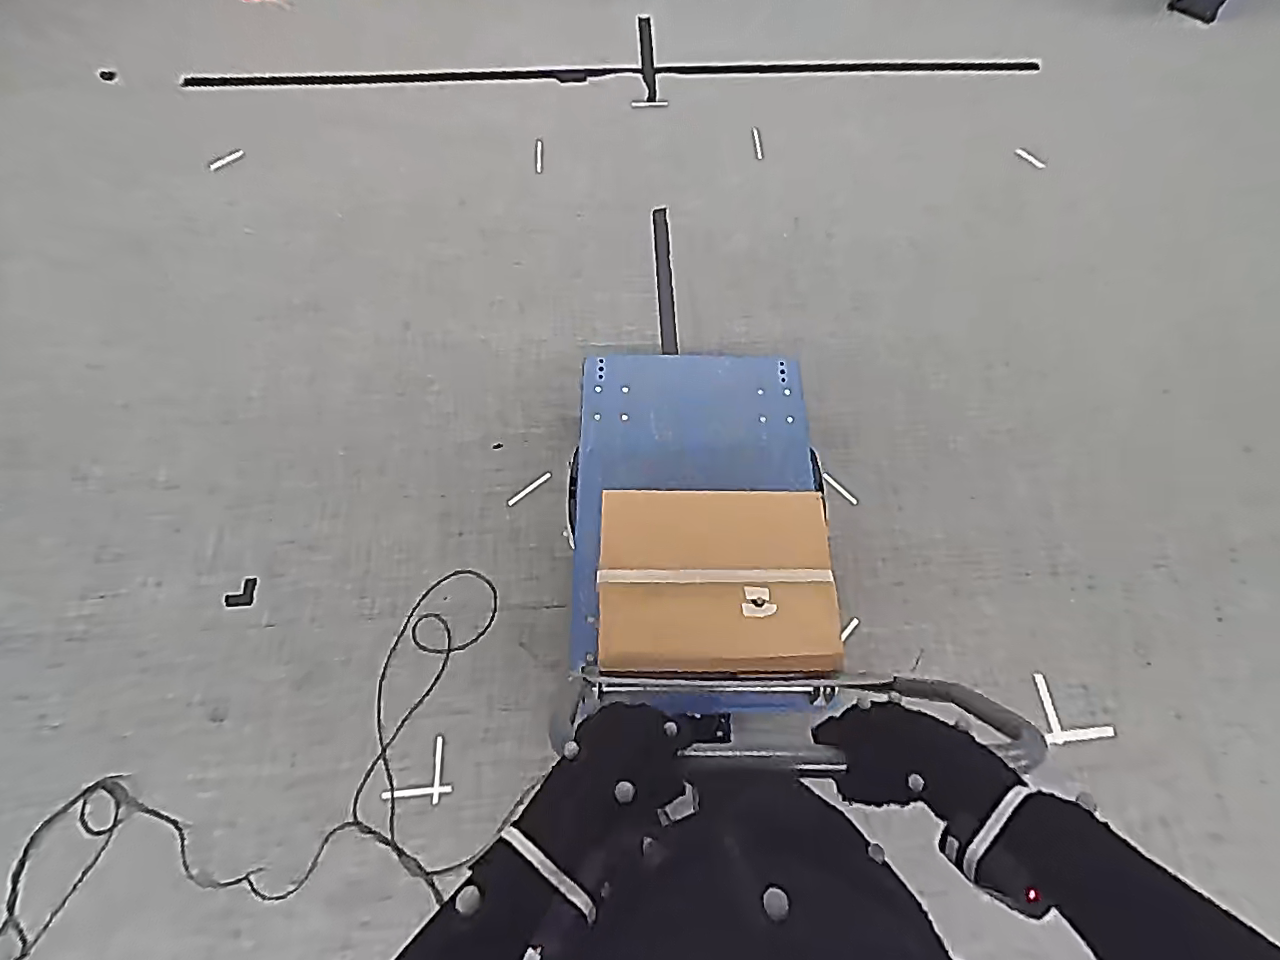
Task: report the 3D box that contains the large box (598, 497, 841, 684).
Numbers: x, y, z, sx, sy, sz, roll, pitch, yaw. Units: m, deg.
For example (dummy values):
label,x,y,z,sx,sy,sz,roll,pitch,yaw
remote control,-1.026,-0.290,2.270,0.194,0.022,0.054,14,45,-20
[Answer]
label,x,y,z,sx,sy,sz,roll,pitch,yaw
large box,0.121,0.229,1.064,0.408,0.320,0.320,0,69,-3
